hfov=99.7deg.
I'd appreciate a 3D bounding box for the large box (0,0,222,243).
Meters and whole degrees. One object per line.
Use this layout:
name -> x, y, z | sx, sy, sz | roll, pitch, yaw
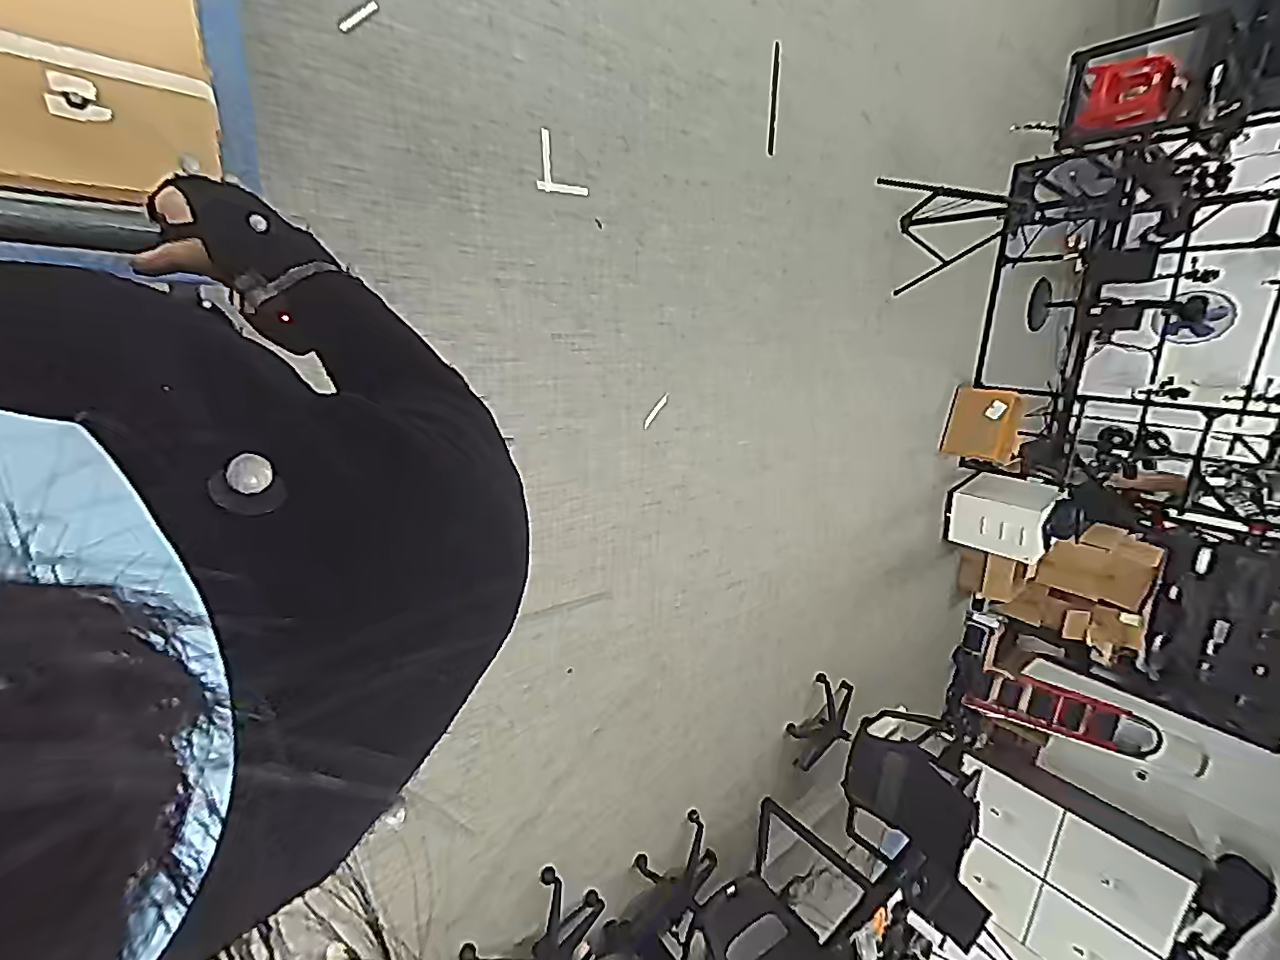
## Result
large box -> -0.844, -0.519, 0.720 | 0.408, 0.320, 0.320 | -11, 110, -40
